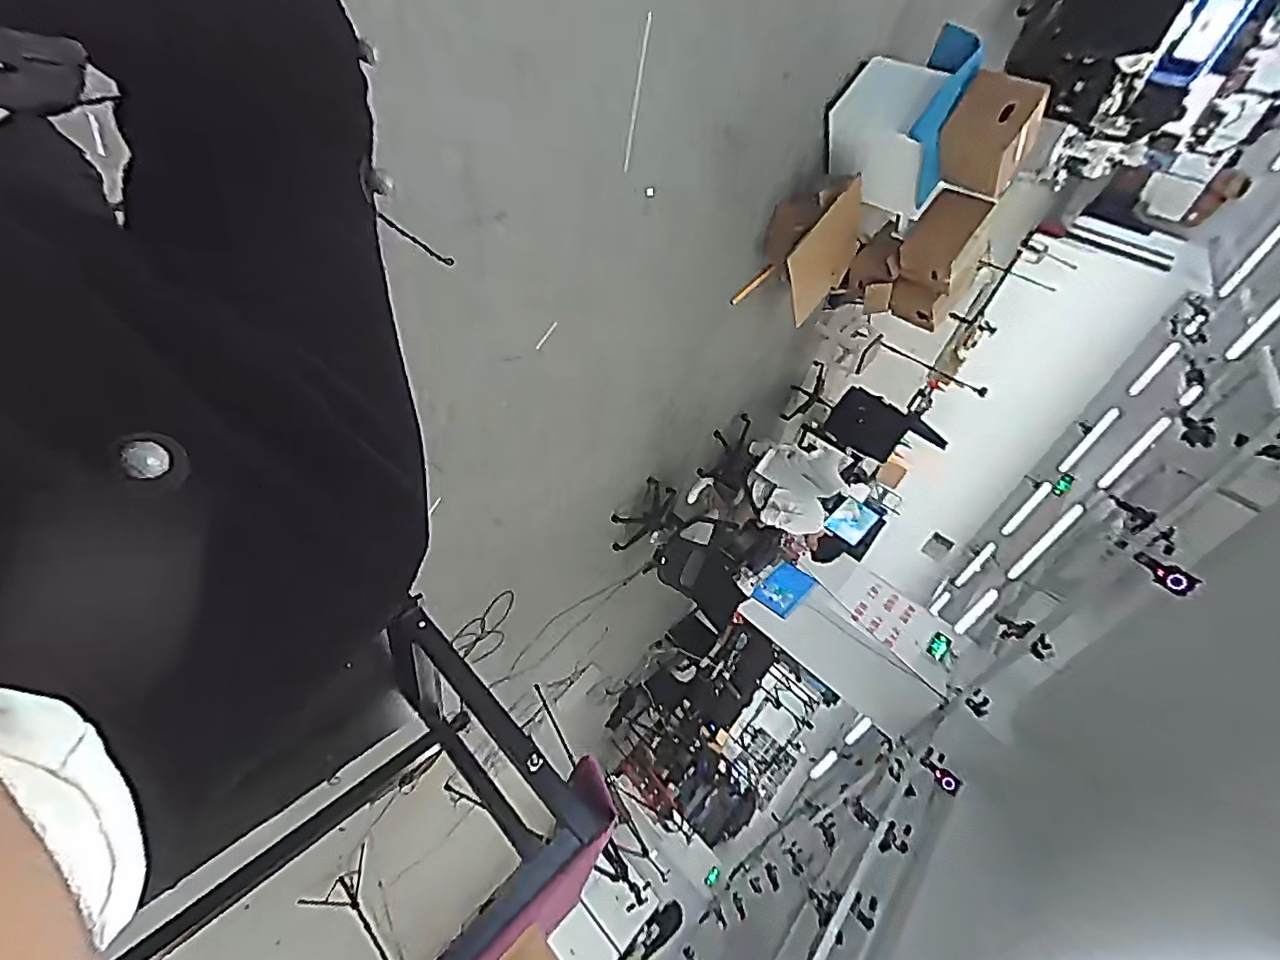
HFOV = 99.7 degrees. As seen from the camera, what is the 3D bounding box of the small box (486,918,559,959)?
[{"bbox_3d":[-0.227,0.972,1.009,0.168,0.176,0.179,-30,148,-39],"label":"small box"}]
